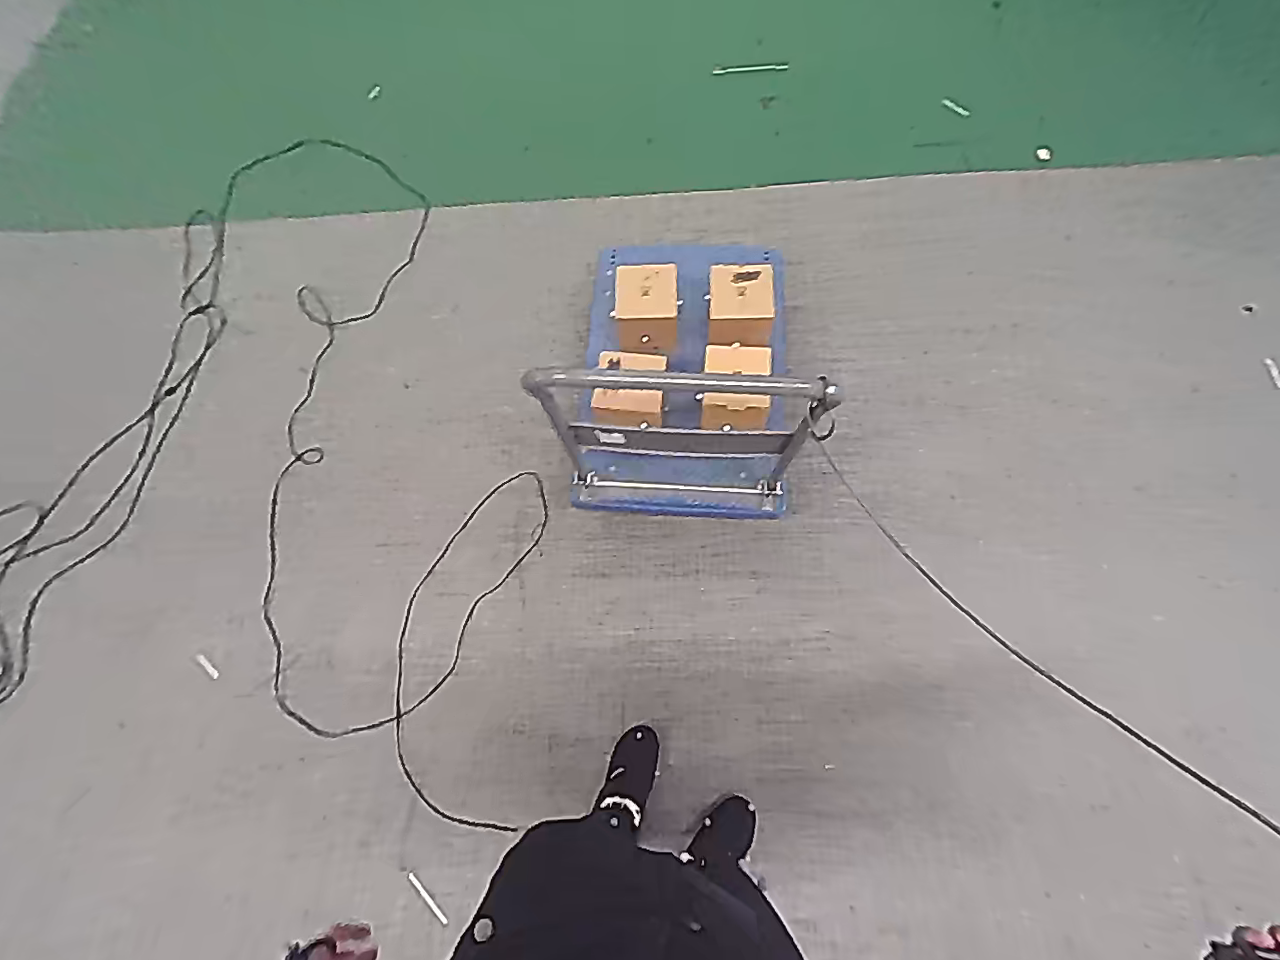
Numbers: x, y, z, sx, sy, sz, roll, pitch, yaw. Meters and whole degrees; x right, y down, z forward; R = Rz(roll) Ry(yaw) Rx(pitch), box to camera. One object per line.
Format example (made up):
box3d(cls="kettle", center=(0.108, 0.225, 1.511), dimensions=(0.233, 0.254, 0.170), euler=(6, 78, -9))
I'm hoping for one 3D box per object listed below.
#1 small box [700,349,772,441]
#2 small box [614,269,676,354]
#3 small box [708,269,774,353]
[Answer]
box3d(cls="small box", center=(0.248, -0.220, 1.425), dimensions=(0.168, 0.176, 0.179), euler=(4, 71, 5))
box3d(cls="small box", center=(0.020, -0.469, 1.529), dimensions=(0.168, 0.176, 0.179), euler=(0, 70, 3))
box3d(cls="small box", center=(0.276, -0.462, 1.509), dimensions=(0.168, 0.176, 0.179), euler=(1, 71, 5))
